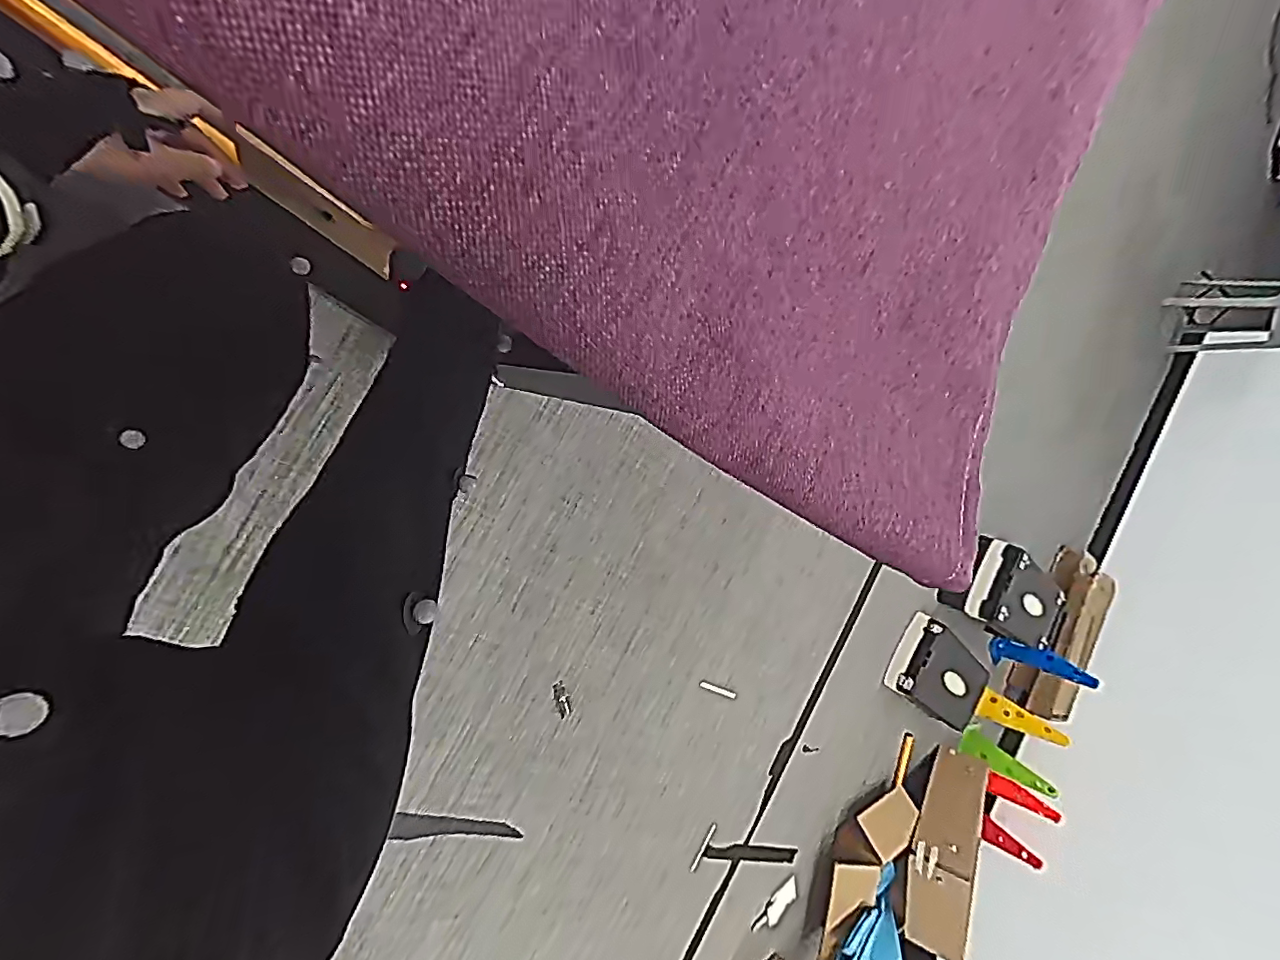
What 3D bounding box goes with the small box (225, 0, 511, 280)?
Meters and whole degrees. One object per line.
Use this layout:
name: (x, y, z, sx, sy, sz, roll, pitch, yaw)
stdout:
small box: (-0.269, -0.319, 0.537, 0.179, 0.176, 0.168, 35, 81, -37)
